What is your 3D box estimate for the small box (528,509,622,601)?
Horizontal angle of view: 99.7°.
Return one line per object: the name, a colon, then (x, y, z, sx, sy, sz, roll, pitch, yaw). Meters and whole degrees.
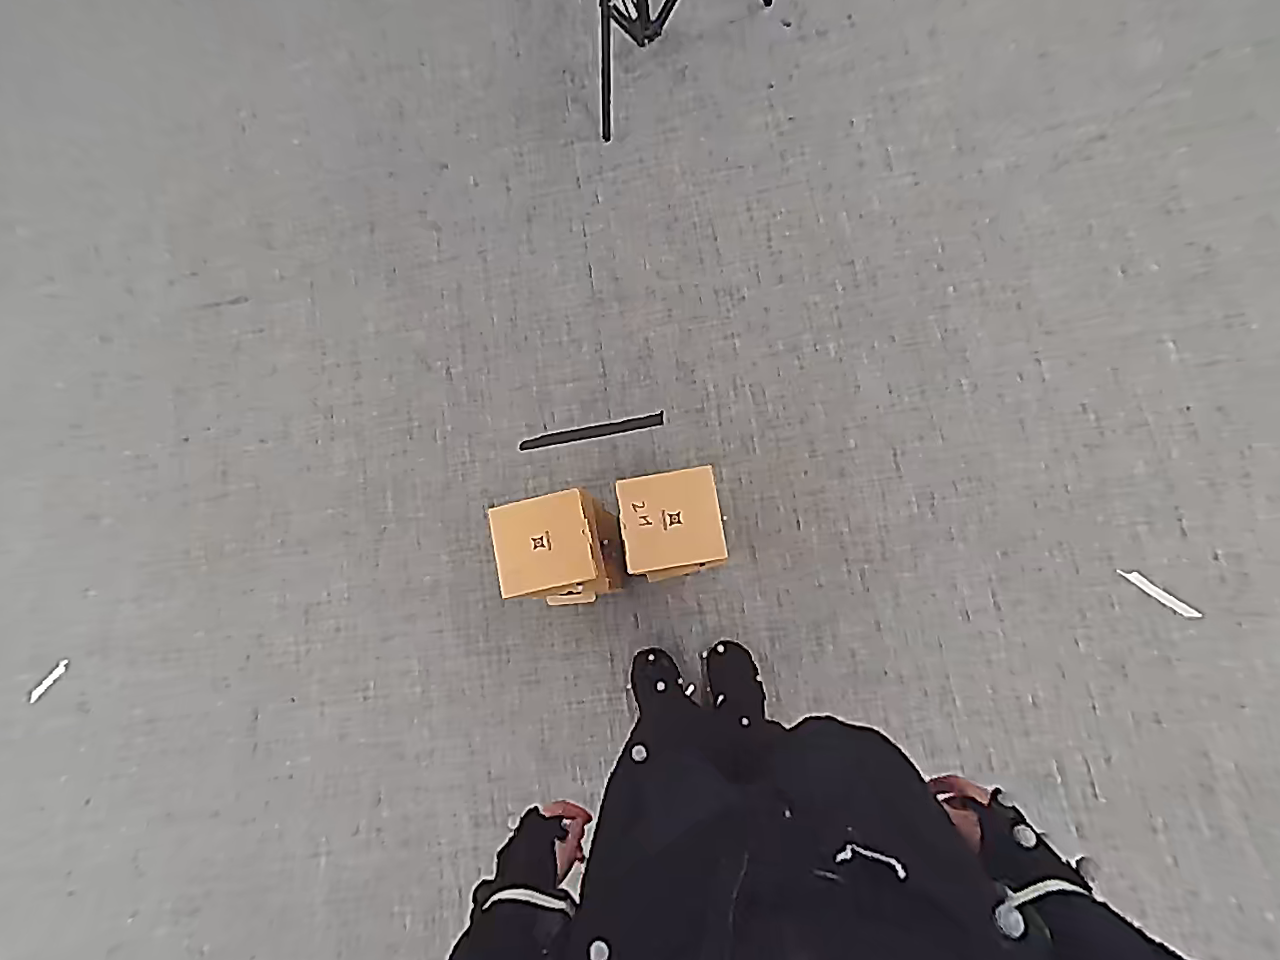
small box: (-0.138, 0.168, 1.190, 0.168, 0.176, 0.179, -7, 78, 6)
